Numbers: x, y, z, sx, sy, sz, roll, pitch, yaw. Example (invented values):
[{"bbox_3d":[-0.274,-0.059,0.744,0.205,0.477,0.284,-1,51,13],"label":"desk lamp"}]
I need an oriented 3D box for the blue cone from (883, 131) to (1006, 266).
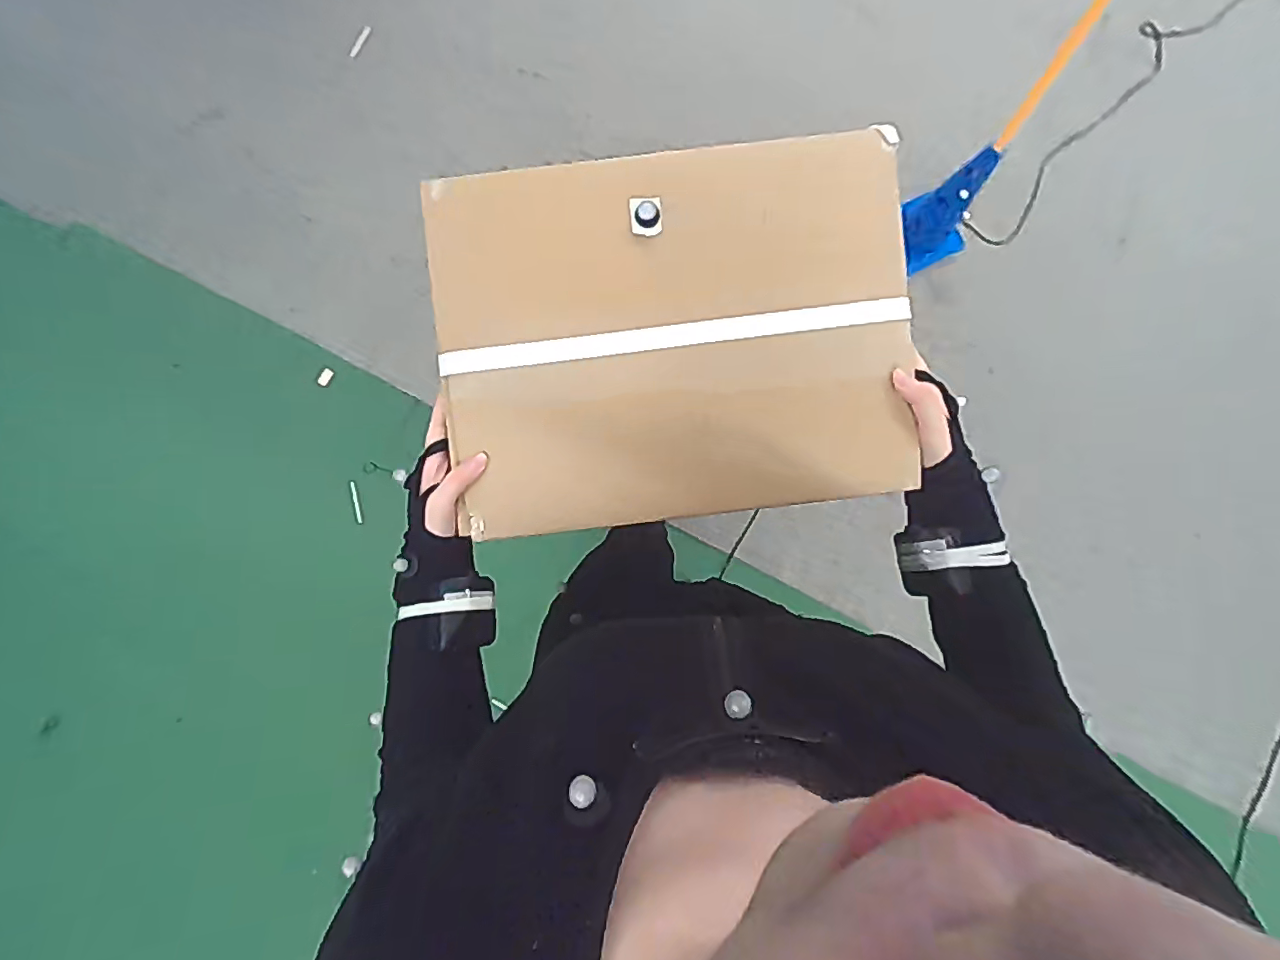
[{"bbox_3d":[0.806,-0.732,1.380,0.193,0.380,0.192,-30,85,-1],"label":"blue cone"}]
